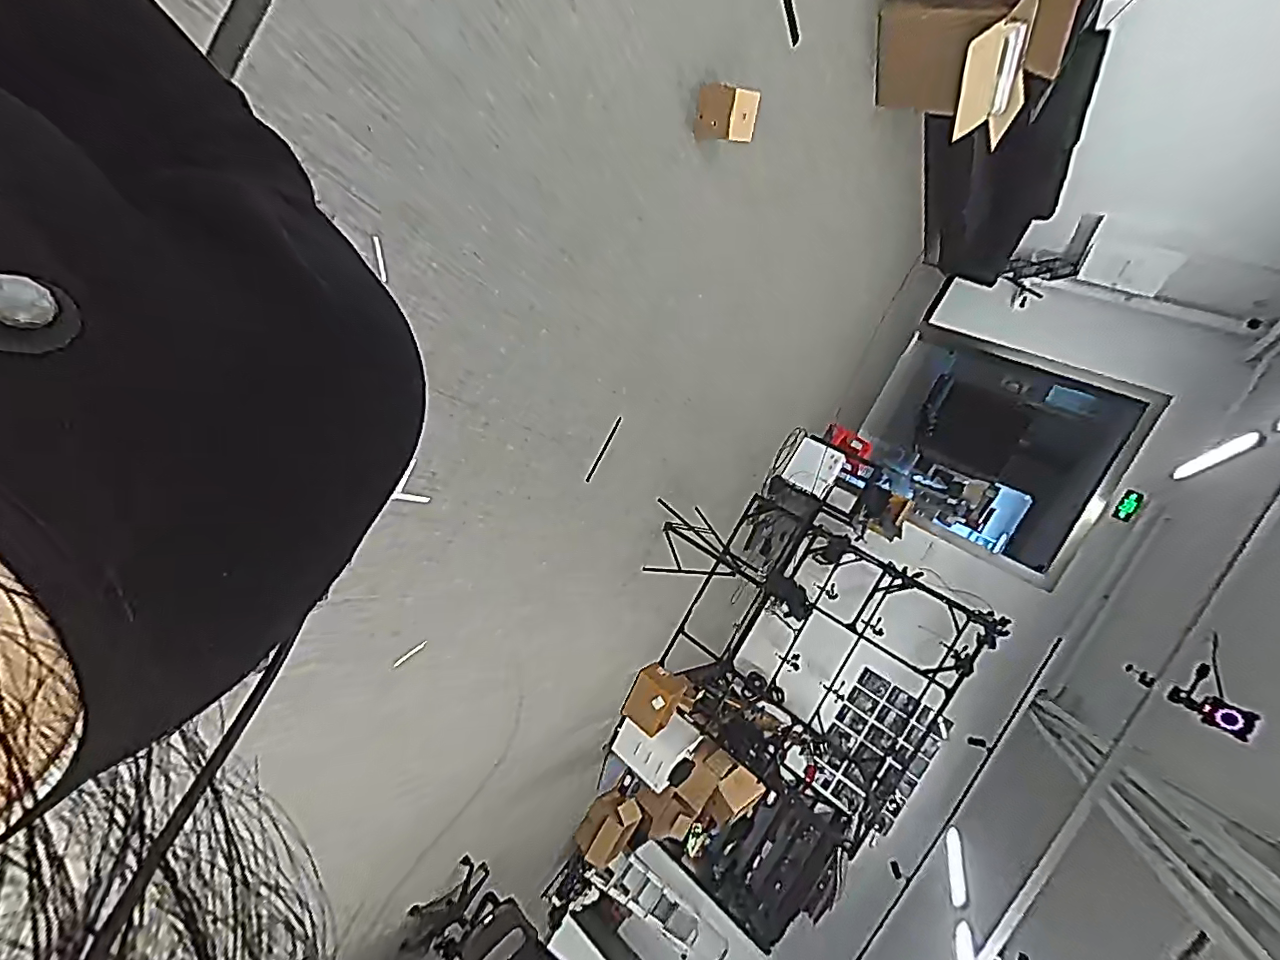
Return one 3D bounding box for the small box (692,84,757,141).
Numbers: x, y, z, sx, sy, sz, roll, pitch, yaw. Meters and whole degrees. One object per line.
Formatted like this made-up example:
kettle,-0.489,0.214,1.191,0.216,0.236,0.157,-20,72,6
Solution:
small box,0.325,-1.439,2.115,0.179,0.176,0.168,-32,142,-42
